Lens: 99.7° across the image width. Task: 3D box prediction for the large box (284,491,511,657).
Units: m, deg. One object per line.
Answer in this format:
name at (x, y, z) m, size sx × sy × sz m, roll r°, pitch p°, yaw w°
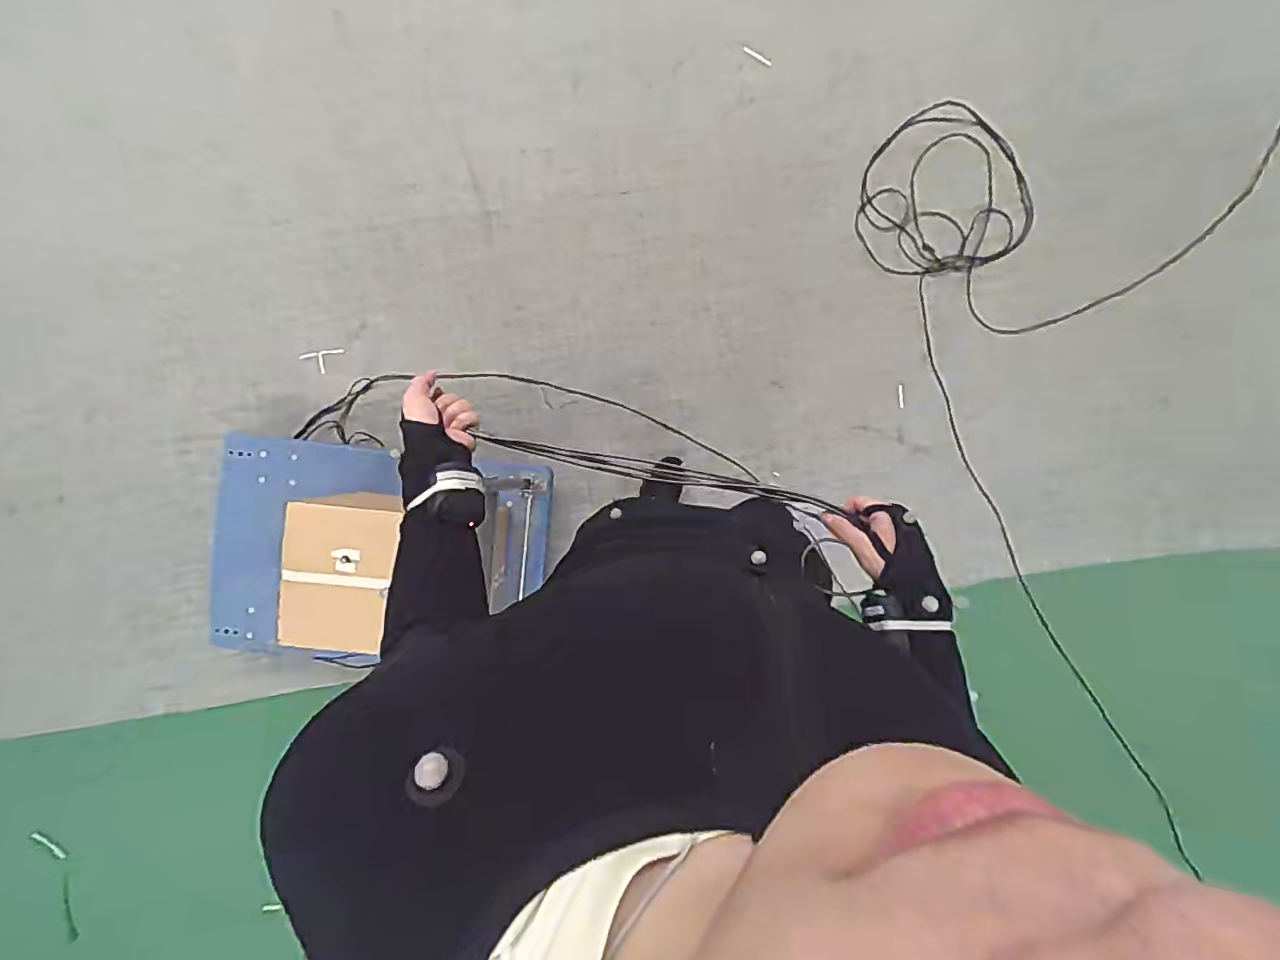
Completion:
large box at (-0.547, 0.203, 1.288) m, size 0.408 × 0.320 × 0.320 m, roll 5°, pitch 92°, yaw 0°
